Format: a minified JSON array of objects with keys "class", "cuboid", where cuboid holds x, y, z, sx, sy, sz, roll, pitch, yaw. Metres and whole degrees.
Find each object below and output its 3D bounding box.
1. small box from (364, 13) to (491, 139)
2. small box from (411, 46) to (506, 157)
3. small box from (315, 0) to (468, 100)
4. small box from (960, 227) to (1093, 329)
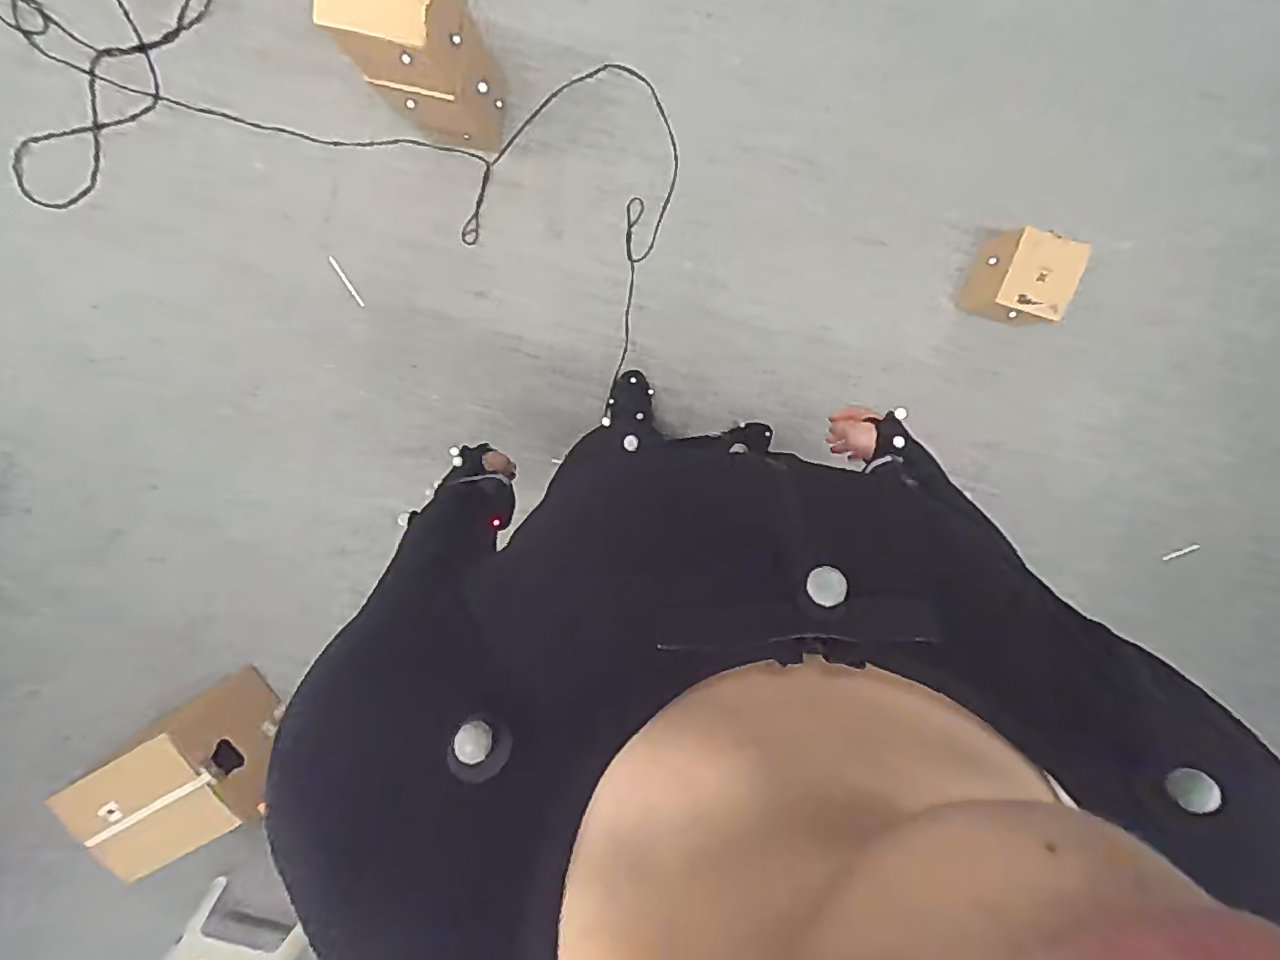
[{"class":"small box","cuboid":[-0.414,-0.810,1.074,0.179,0.176,0.168,11,102,-3]},{"class":"small box","cuboid":[-0.413,-0.861,1.230,0.179,0.176,0.168,8,101,-1]},{"class":"small box","cuboid":[-0.411,-0.781,0.913,0.179,0.176,0.168,10,102,-3]},{"class":"small box","cuboid":[0.913,-0.476,1.298,0.168,0.176,0.179,16,101,-3]}]
